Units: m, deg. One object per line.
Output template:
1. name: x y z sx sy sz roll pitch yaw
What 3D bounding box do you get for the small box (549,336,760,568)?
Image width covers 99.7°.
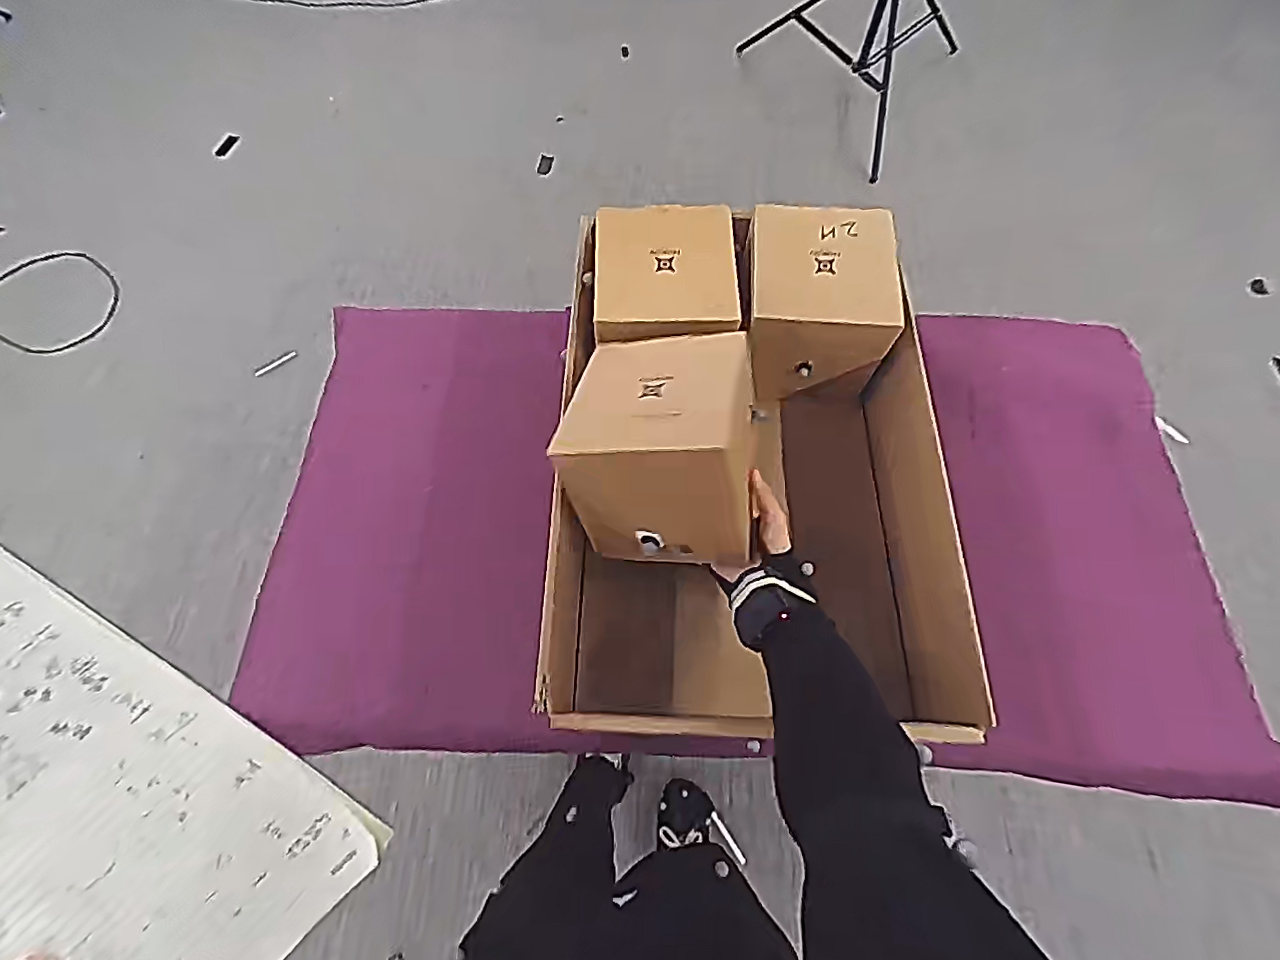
1. small box: 0.031 -0.027 0.578 0.168 0.176 0.179 -3 44 21
